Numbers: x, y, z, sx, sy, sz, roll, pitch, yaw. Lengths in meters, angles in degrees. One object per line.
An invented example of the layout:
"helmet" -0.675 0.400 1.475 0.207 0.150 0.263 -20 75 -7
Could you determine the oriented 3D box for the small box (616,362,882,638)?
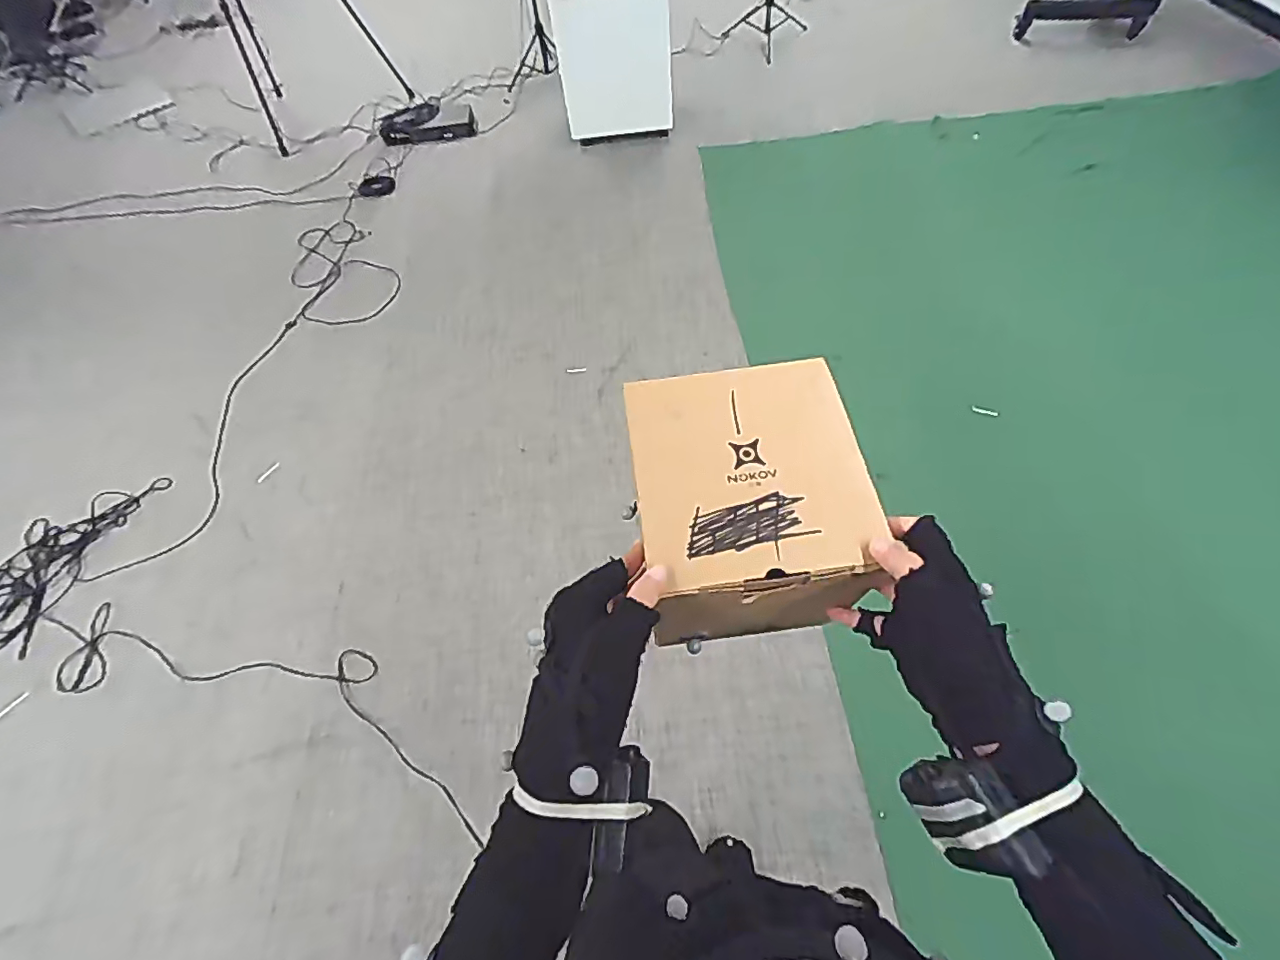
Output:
"small box" 0.074 0.029 0.460 0.168 0.176 0.179 -7 61 -1
